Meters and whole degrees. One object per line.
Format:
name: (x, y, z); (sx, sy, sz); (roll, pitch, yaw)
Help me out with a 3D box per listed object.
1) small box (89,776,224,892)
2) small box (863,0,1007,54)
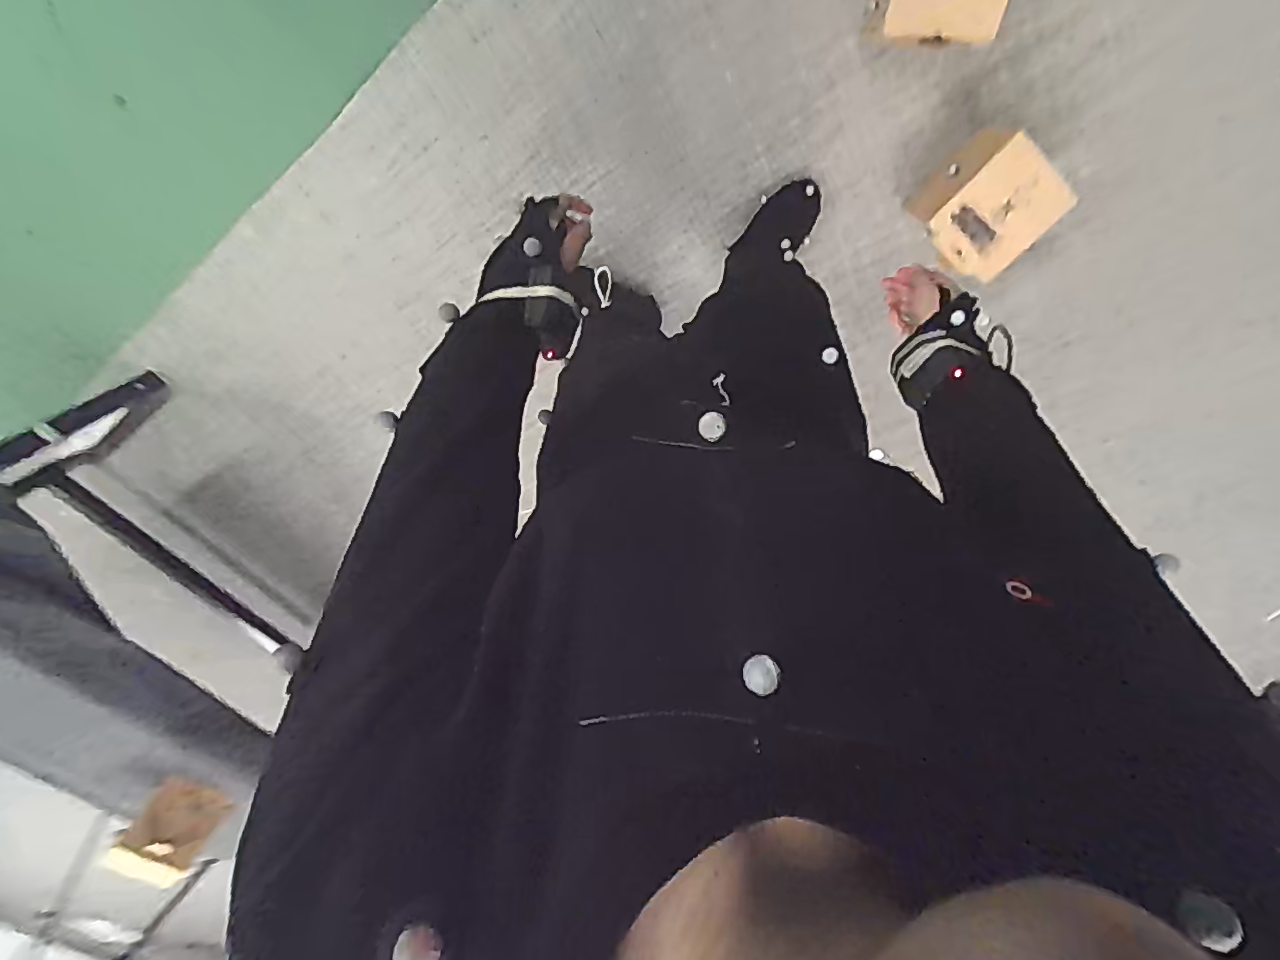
small box: (-1.160, 0.853, 1.307); (0.168, 0.176, 0.179); (40, 121, -18)
small box: (0.456, -0.768, 0.822); (0.168, 0.176, 0.179); (6, 124, 3)
